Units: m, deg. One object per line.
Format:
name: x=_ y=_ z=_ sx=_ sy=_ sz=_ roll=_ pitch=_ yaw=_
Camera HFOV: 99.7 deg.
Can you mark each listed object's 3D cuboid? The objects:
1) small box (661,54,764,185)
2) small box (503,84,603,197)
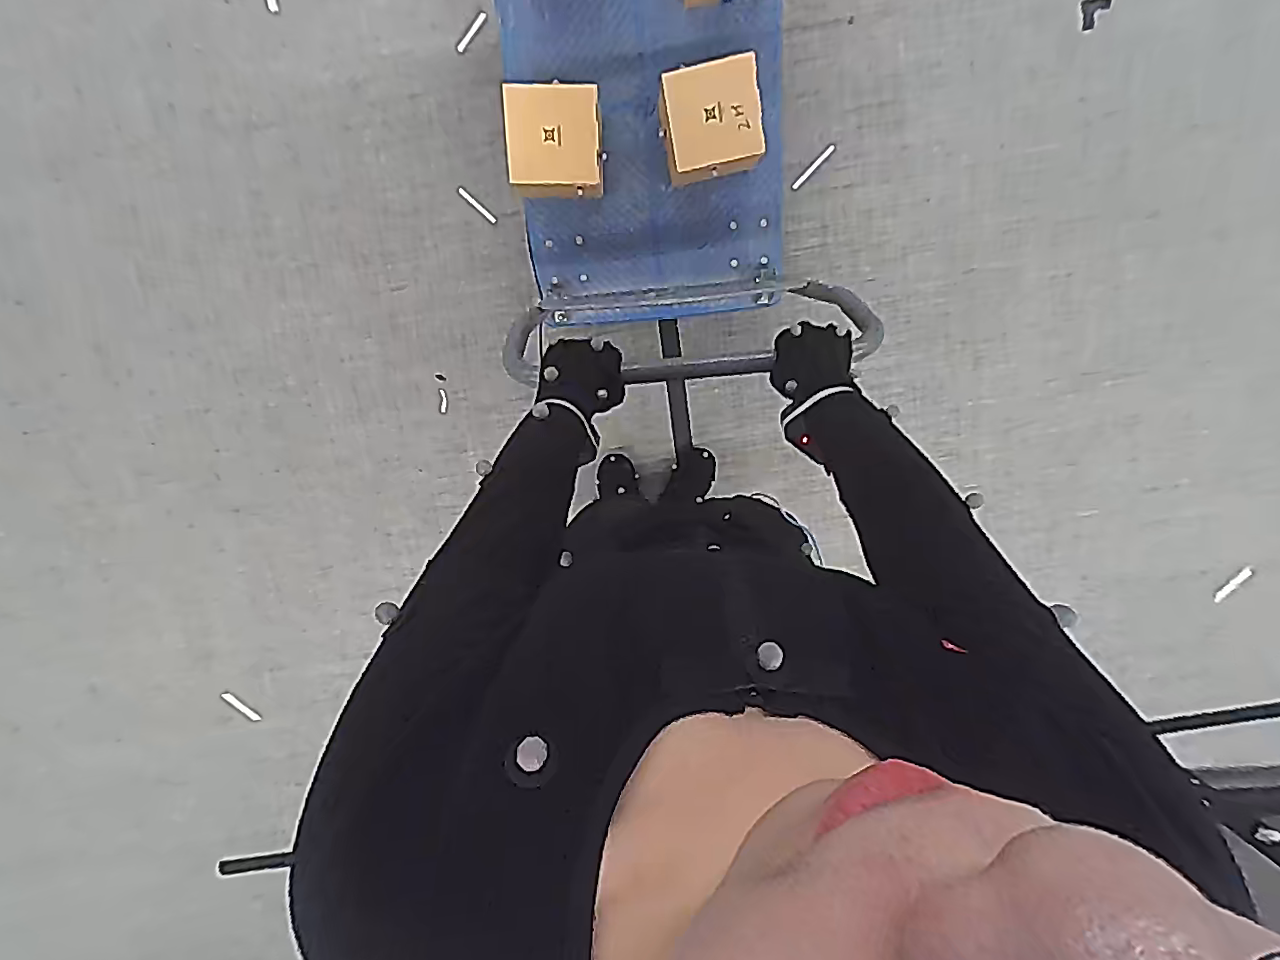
small box: x=0.139 y=-0.708 z=1.084 sx=0.179 sy=0.176 sz=0.168 roll=-11 pitch=111 yaw=4
small box: x=-0.168 y=-0.677 z=1.094 sx=0.179 sy=0.176 sz=0.168 roll=-1 pitch=110 yaw=-2
